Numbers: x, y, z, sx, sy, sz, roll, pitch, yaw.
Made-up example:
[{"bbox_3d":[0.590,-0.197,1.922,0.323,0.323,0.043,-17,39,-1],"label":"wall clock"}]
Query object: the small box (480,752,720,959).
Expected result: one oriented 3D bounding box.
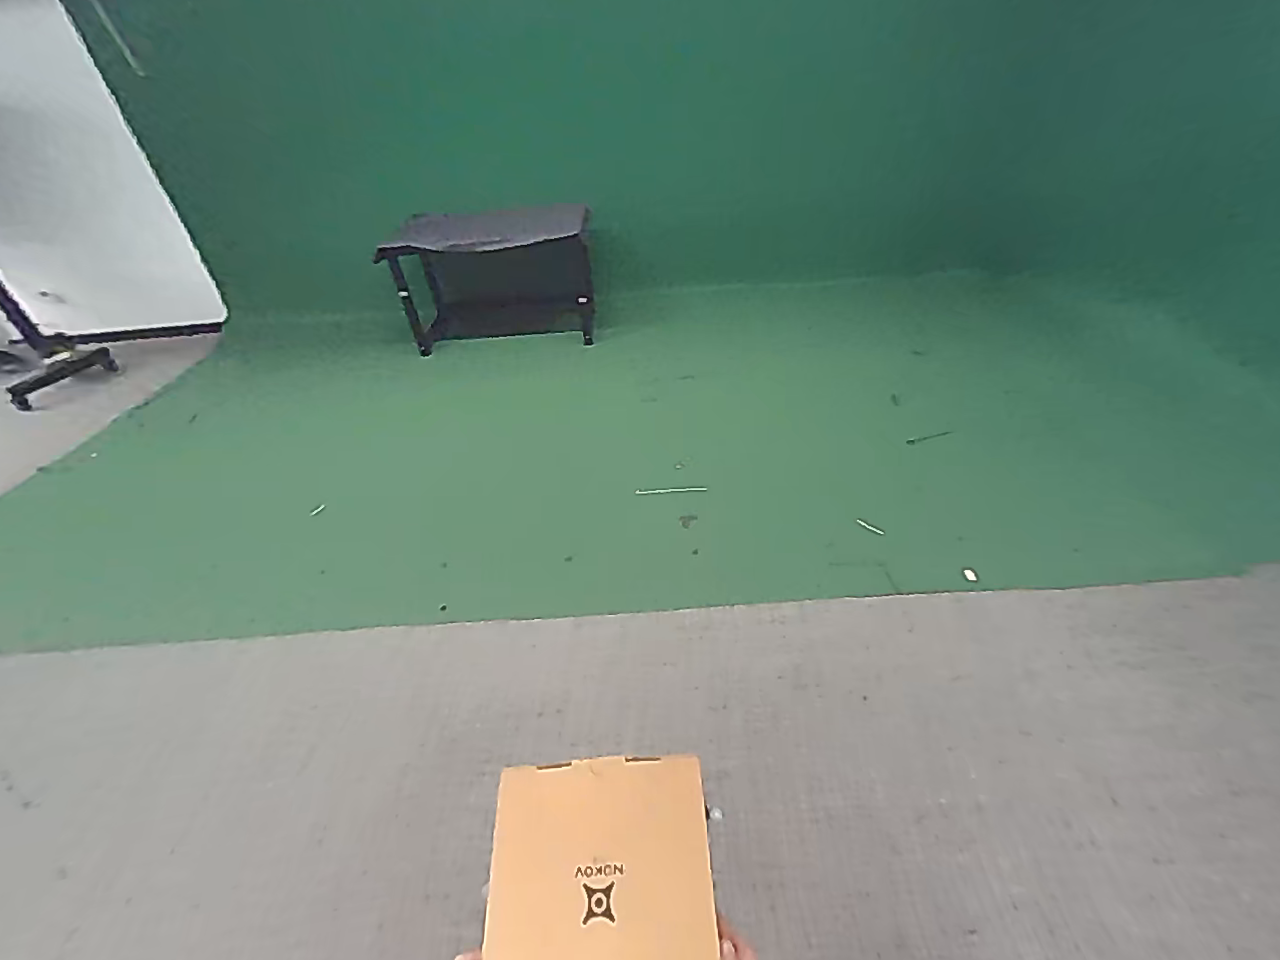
[{"bbox_3d":[-0.022,0.343,0.448,0.168,0.176,0.179,-6,51,2],"label":"small box"}]
